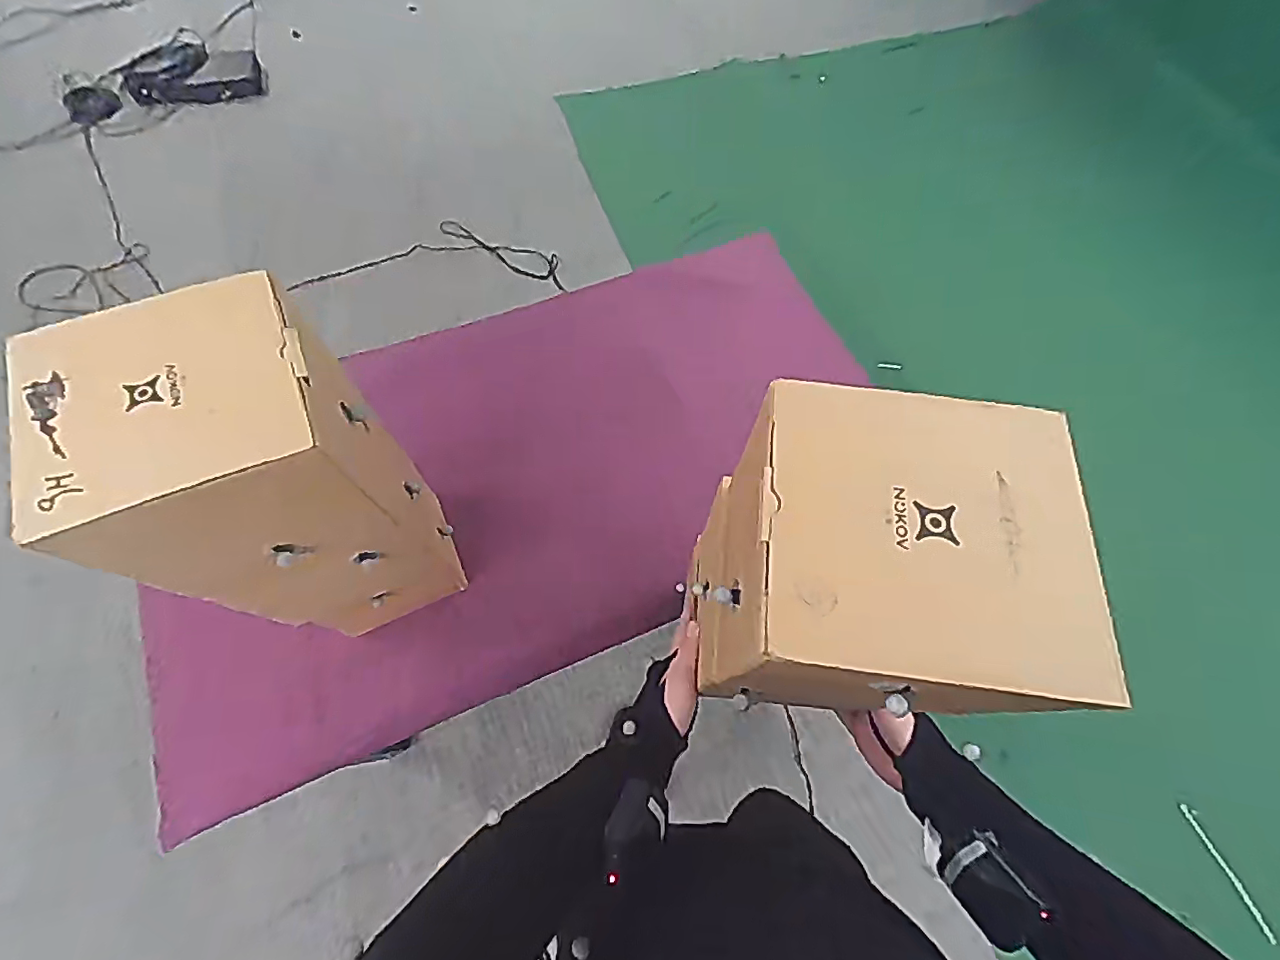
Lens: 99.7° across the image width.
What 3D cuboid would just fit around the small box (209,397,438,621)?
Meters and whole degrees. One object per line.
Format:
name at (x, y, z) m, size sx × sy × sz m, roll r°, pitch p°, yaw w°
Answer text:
small box at (-0.341, 0.040, 0.600) m, size 0.179 × 0.176 × 0.168 m, roll -21°, pitch 70°, yaw -11°

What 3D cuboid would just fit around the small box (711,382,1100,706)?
small box at (0.147, 0.055, 0.370) m, size 0.179 × 0.176 × 0.168 m, roll 7°, pitch 67°, yaw 3°

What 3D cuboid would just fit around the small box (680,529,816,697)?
small box at (0.145, 0.173, 0.675) m, size 0.179 × 0.176 × 0.168 m, roll 6°, pitch 65°, yaw 2°

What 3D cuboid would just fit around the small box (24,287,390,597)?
small box at (-0.330, -0.021, 0.449) m, size 0.179 × 0.176 × 0.168 m, roll -21°, pitch 70°, yaw -12°

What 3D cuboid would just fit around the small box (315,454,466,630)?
small box at (-0.358, 0.093, 0.756) m, size 0.179 × 0.176 × 0.168 m, roll -23°, pitch 70°, yaw -11°
